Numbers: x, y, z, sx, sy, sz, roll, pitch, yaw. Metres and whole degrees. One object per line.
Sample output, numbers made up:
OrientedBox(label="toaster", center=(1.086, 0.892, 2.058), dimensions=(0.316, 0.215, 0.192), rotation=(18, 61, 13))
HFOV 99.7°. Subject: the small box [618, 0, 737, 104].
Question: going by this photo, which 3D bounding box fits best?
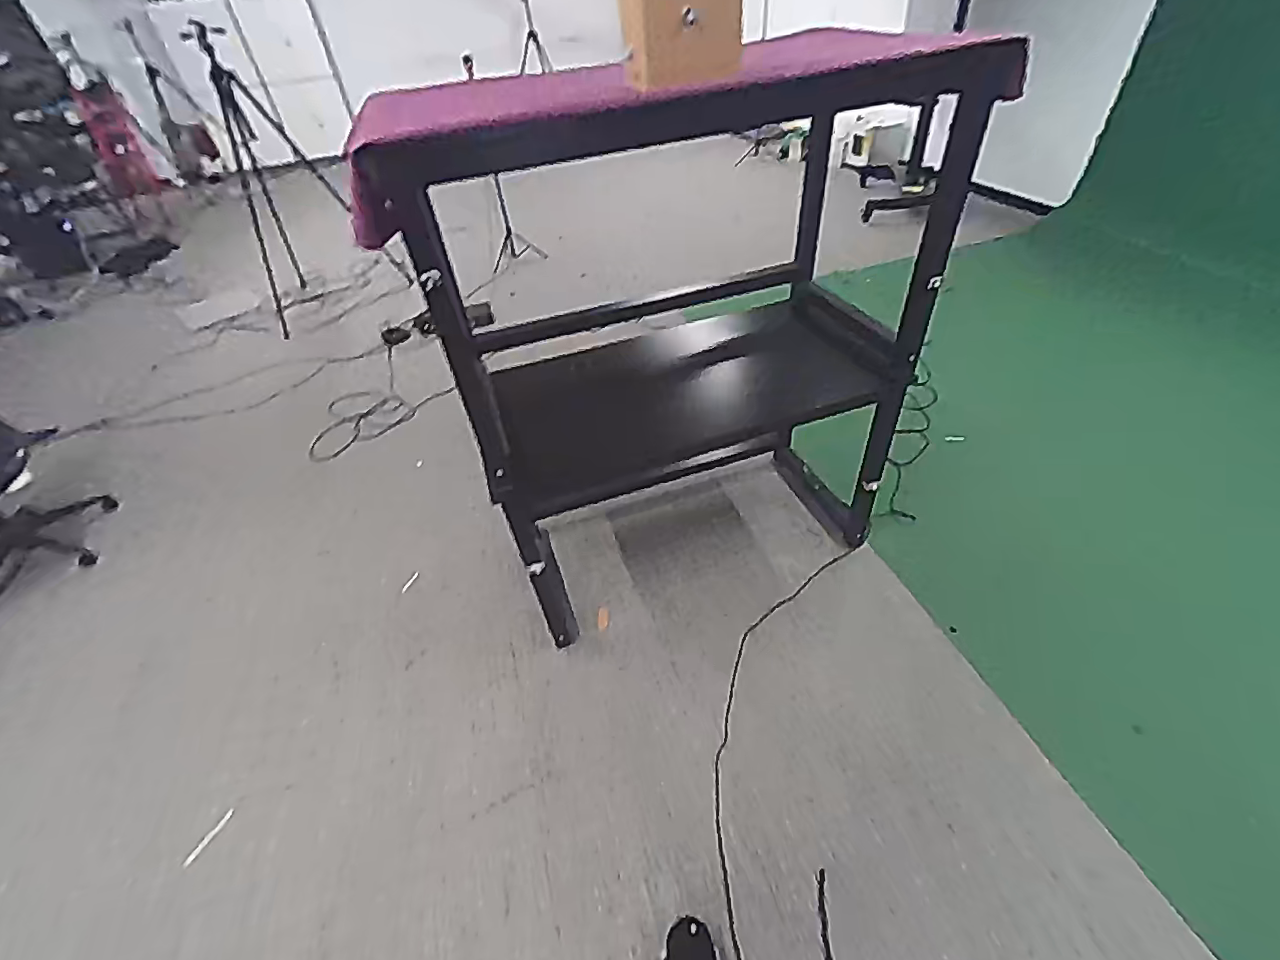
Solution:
OrientedBox(label="small box", center=(0.064, -0.786, 0.953), dimensions=(0.179, 0.176, 0.168), rotation=(-14, 42, -6))
